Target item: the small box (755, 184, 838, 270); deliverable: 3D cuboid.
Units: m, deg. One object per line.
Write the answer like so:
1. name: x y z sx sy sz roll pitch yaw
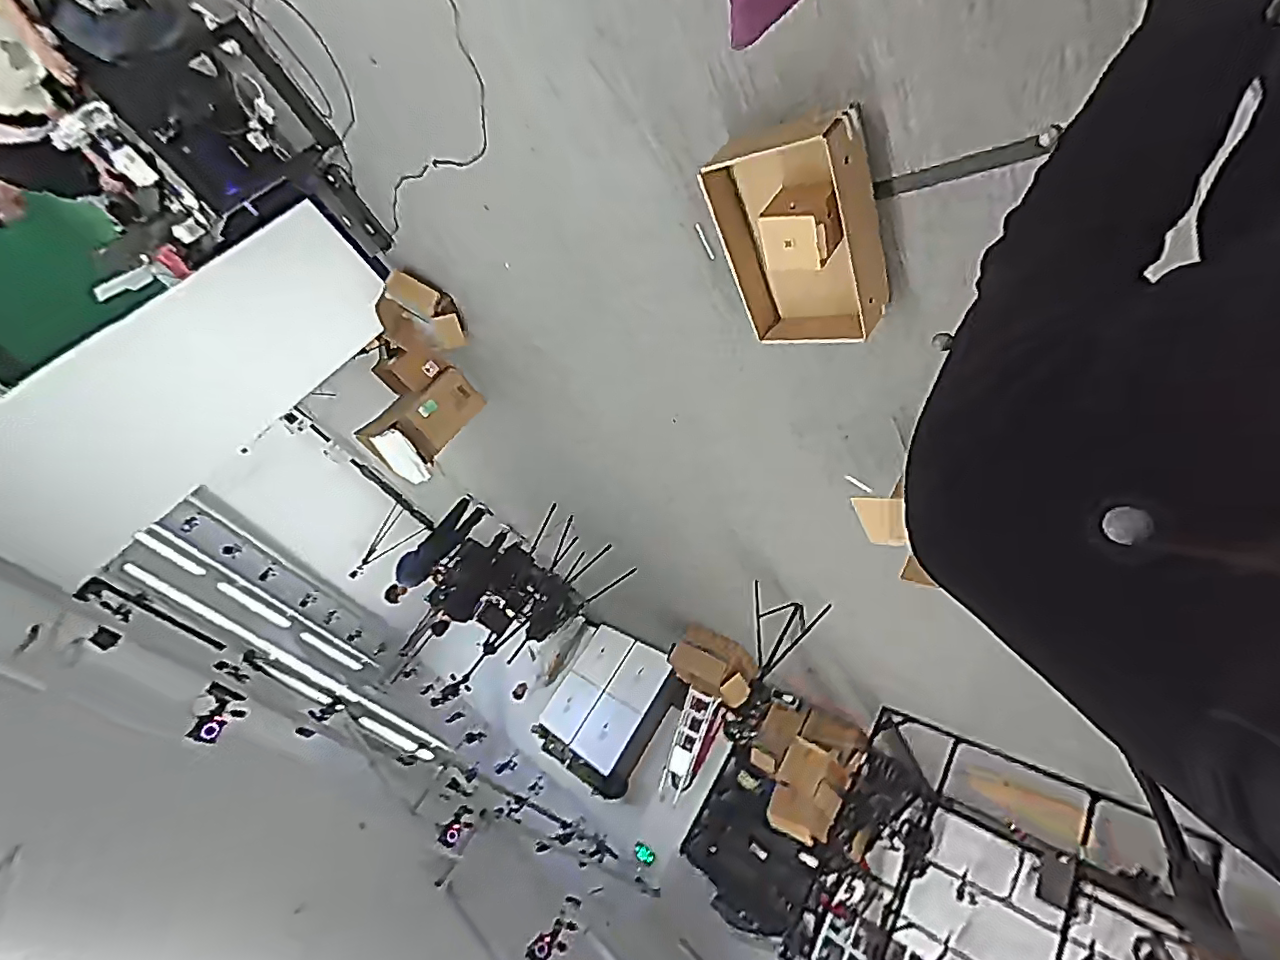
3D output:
1. small box: 0.460 -0.731 1.561 0.179 0.176 0.168 18 151 35
